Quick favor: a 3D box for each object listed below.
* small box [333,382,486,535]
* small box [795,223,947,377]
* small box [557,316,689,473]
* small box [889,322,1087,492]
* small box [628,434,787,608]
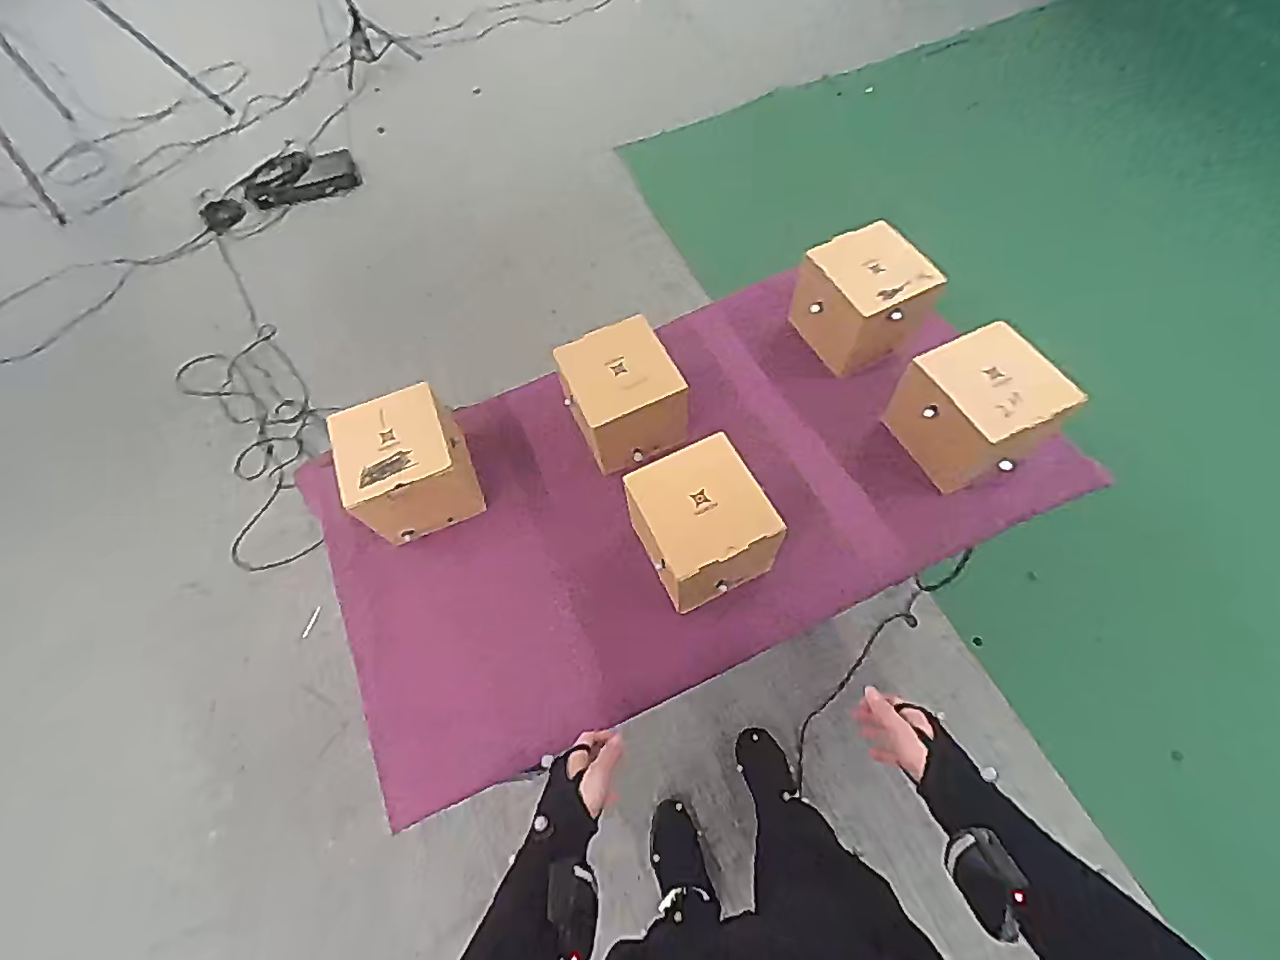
[{"bbox_3d":[-0.373,-0.024,0.897,0.168,0.176,0.179,-22,64,-7],"label":"small box"},{"bbox_3d":[0.406,-0.324,0.989,0.168,0.176,0.179,-25,63,-7],"label":"small box"},{"bbox_3d":[-0.026,-0.142,0.934,0.168,0.176,0.179,-24,64,-7],"label":"small box"},{"bbox_3d":[0.534,-0.111,0.865,0.168,0.176,0.179,-24,63,-6],"label":"small box"},{"bbox_3d":[0.094,0.067,0.816,0.168,0.176,0.179,-24,63,-8],"label":"small box"}]
